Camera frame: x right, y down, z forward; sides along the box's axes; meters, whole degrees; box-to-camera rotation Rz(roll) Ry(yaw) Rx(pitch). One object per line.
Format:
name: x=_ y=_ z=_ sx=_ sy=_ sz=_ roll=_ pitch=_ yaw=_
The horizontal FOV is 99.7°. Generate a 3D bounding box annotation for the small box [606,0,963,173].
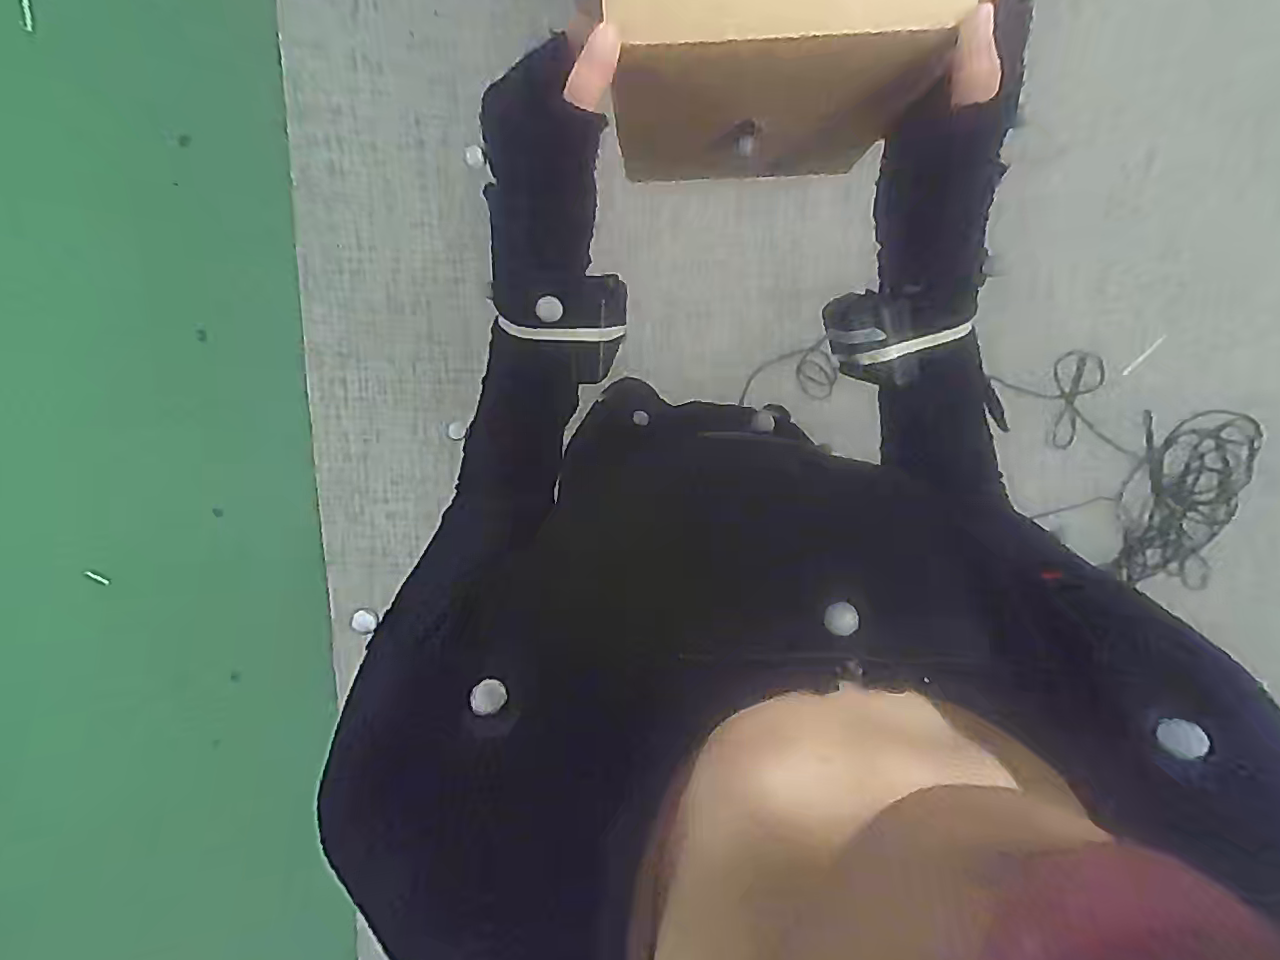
small box: x=0.068 y=-0.299 z=0.316 sx=0.168 sy=0.176 sz=0.179 roll=-2 pitch=99 yaw=2
